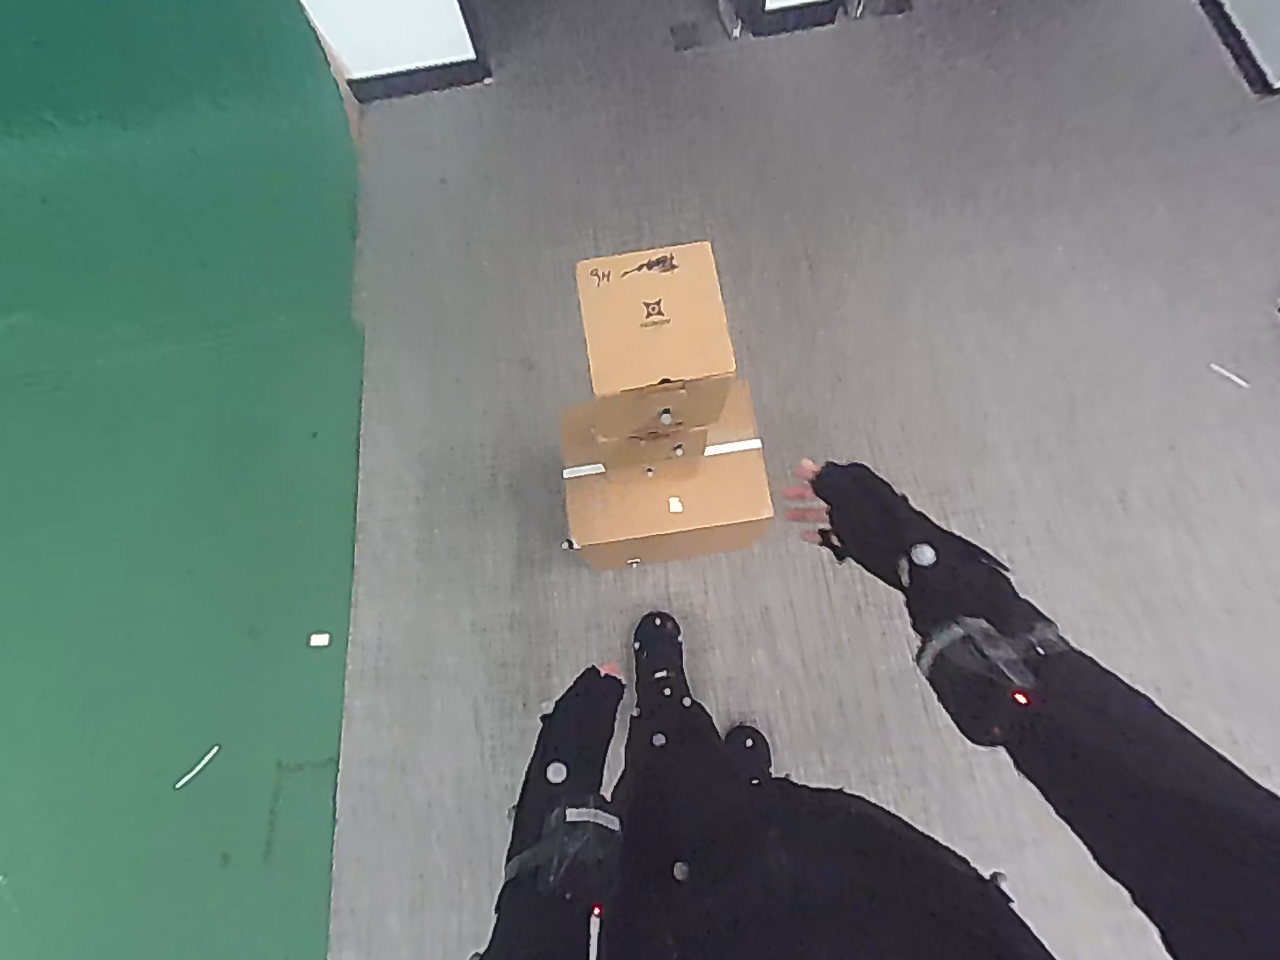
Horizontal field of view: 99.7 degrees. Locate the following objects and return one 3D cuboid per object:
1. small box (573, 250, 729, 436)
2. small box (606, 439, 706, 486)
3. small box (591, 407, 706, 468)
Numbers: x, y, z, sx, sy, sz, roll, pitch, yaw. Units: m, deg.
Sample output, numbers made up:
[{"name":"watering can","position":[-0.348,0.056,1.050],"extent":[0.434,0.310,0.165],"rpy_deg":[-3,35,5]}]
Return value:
[{"name":"small box","position":[0.016,-0.165,0.711],"extent":[0.168,0.176,0.179],"rpy_deg":[-9,78,1]},{"name":"small box","position":[0.021,-0.091,1.028],"extent":[0.179,0.176,0.168],"rpy_deg":[-9,78,1]},{"name":"small box","position":[0.010,-0.123,0.870],"extent":[0.168,0.176,0.179],"rpy_deg":[-9,77,0]}]
